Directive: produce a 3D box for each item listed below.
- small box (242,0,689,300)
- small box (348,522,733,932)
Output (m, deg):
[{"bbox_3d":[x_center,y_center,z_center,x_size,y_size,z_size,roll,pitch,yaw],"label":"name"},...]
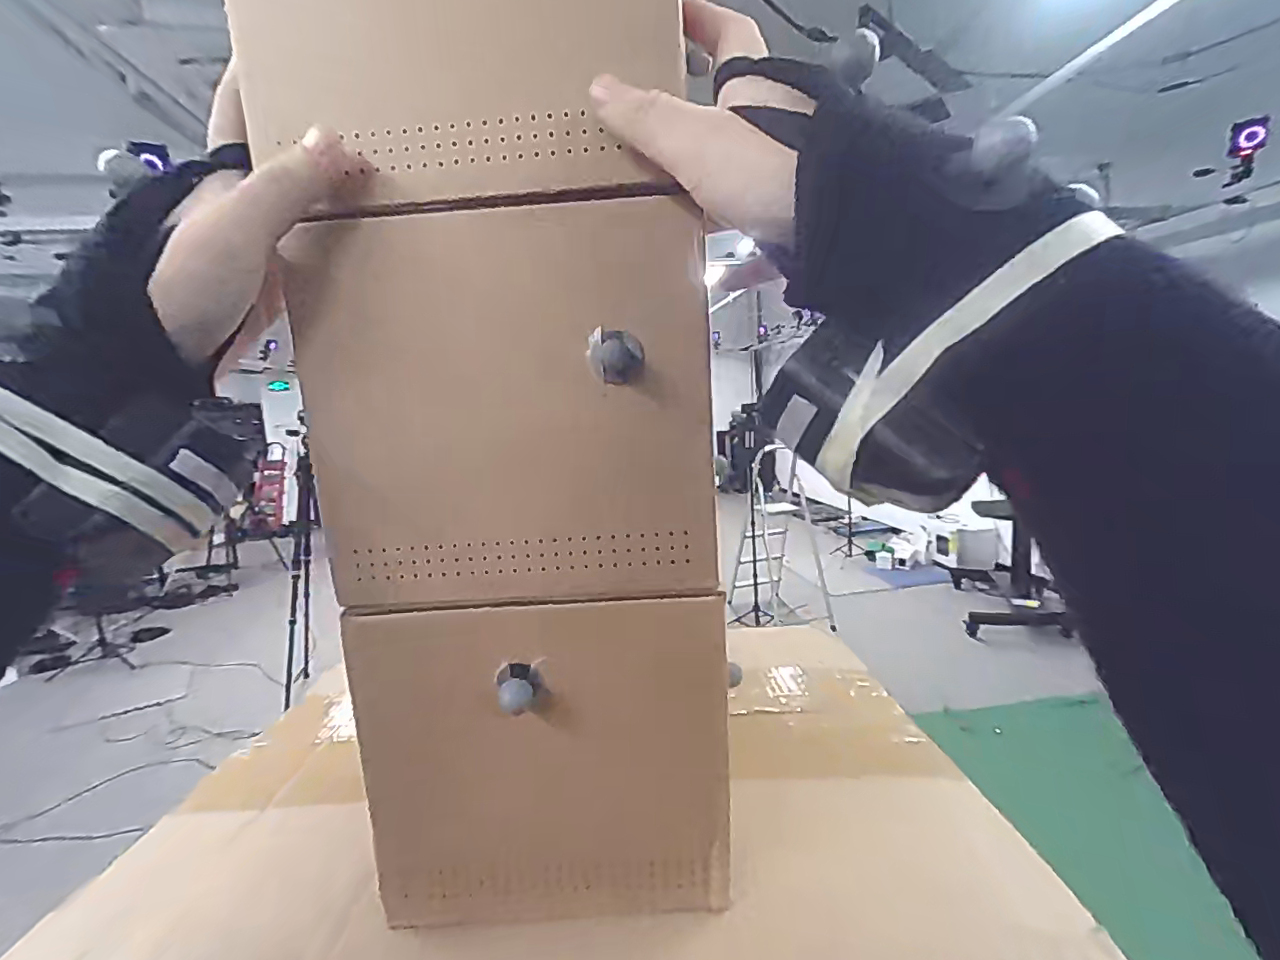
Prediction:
[{"bbox_3d":[-0.064,-0.193,0.280,0.179,0.176,0.168,-3,9,4],"label":"small box"},{"bbox_3d":[-0.042,0.131,0.333,0.179,0.176,0.168,-3,10,0],"label":"small box"}]
